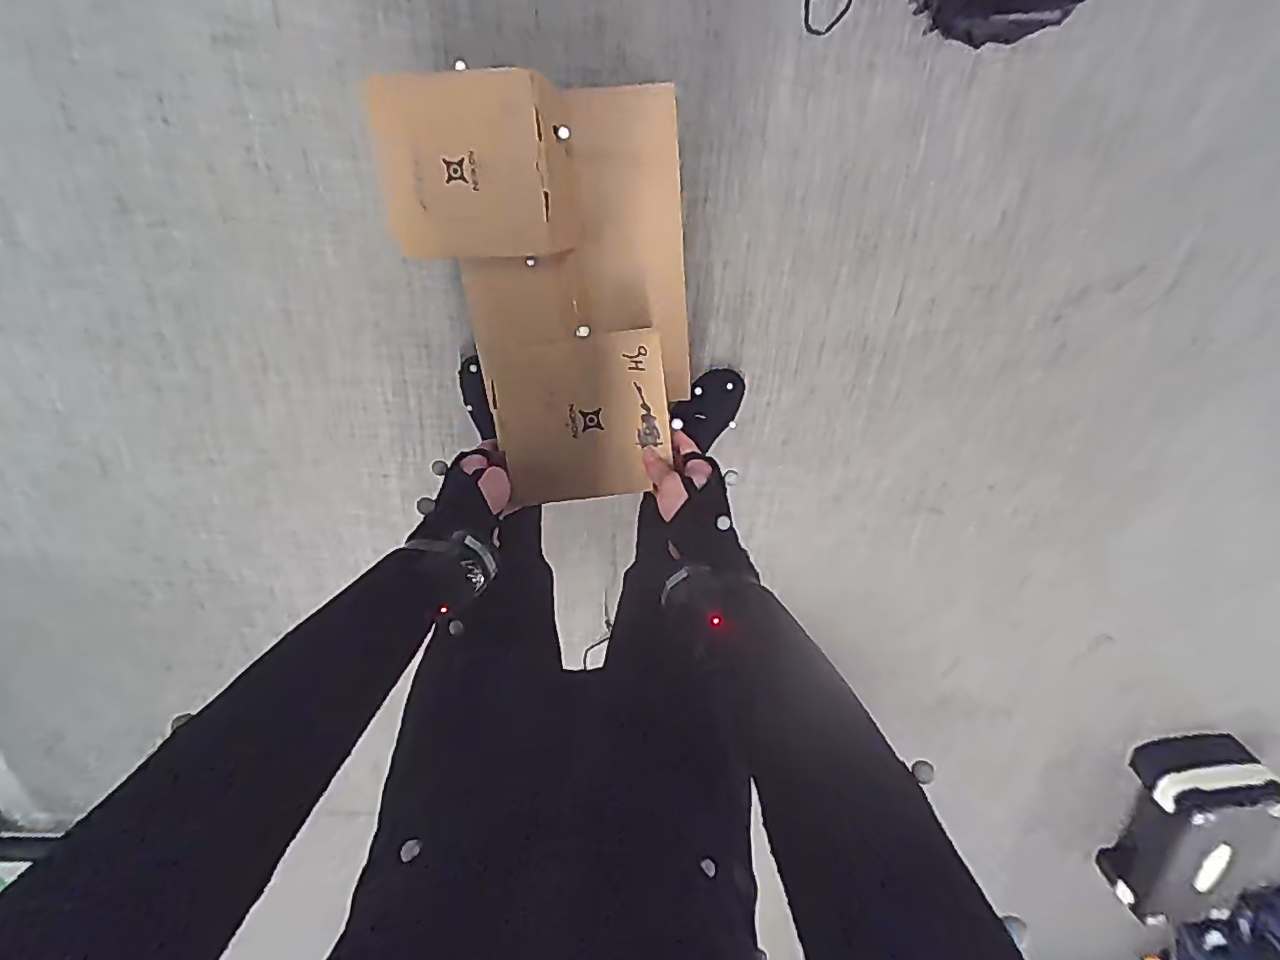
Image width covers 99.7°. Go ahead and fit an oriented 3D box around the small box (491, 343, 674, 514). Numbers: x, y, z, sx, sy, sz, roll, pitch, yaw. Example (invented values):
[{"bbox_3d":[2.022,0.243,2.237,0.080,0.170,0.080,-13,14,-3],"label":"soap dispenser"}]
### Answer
[{"bbox_3d":[-0.054,-0.064,0.632,0.179,0.176,0.168,-6,102,3],"label":"small box"}]
